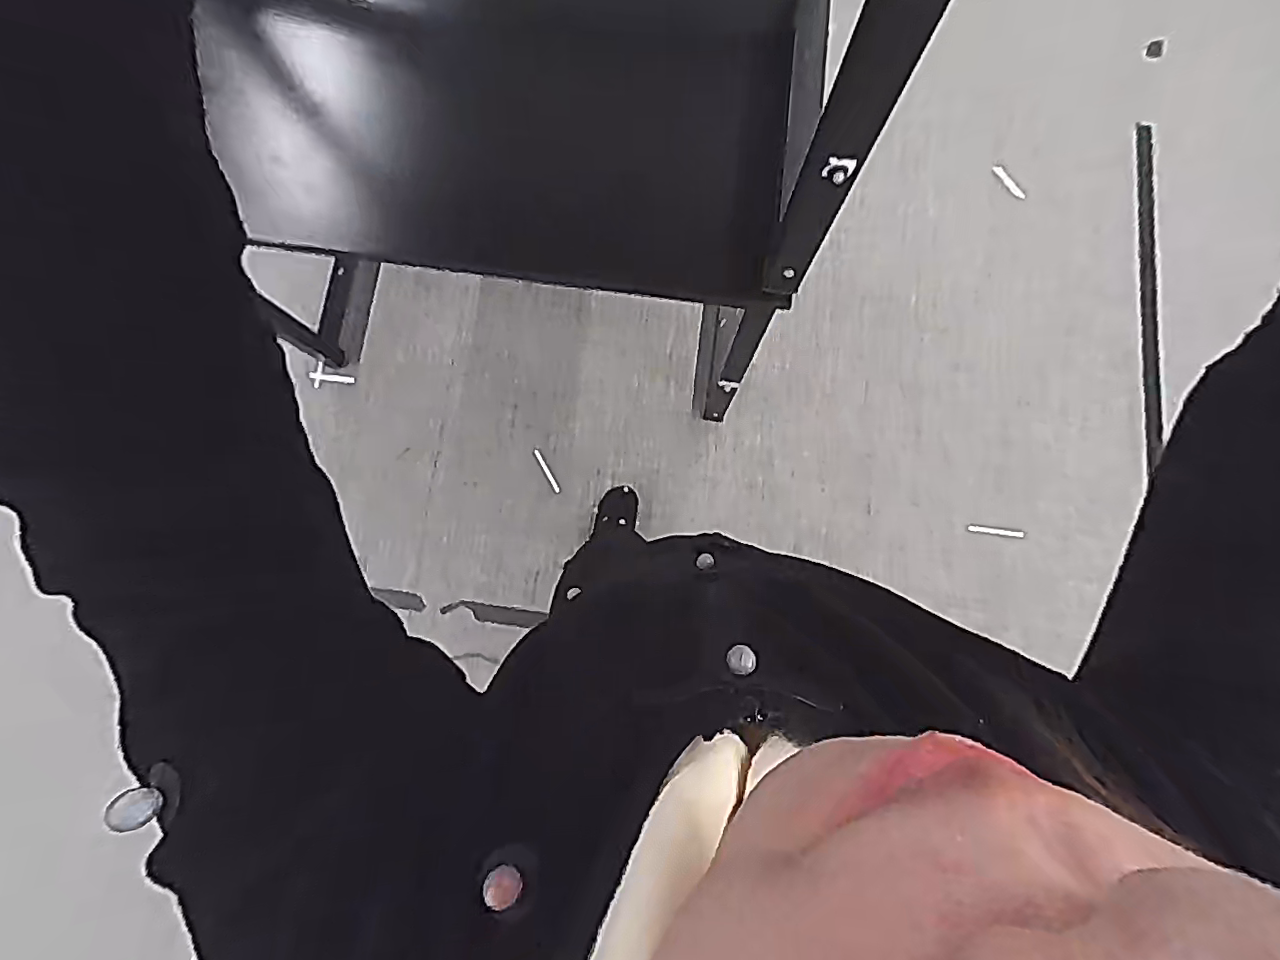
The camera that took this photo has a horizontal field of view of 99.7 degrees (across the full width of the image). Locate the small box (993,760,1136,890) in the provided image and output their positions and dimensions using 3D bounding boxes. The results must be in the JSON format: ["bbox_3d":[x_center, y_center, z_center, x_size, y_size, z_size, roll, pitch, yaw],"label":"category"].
[{"bbox_3d":[0.901,0.727,1.163,0.179,0.176,0.168,14,82,2],"label":"small box"}]

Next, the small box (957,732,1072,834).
[{"bbox_3d":[0.909,0.749,1.327,0.168,0.176,0.179,9,82,2],"label":"small box"}]
